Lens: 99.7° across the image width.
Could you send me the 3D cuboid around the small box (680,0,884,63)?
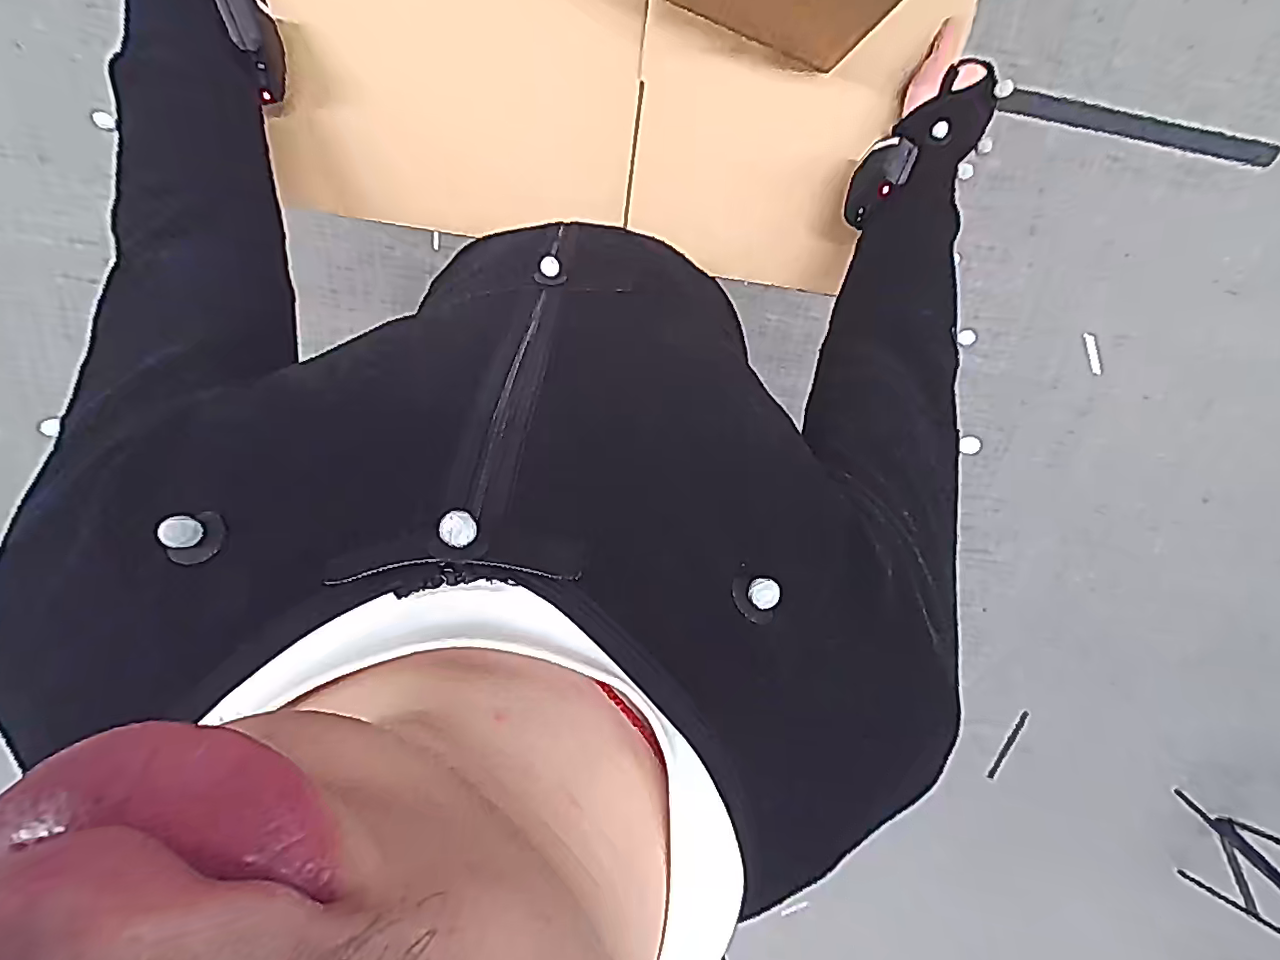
[{"bbox_3d":[0.129,-0.460,0.403,0.179,0.176,0.168,17,107,-9],"label":"small box"}]
